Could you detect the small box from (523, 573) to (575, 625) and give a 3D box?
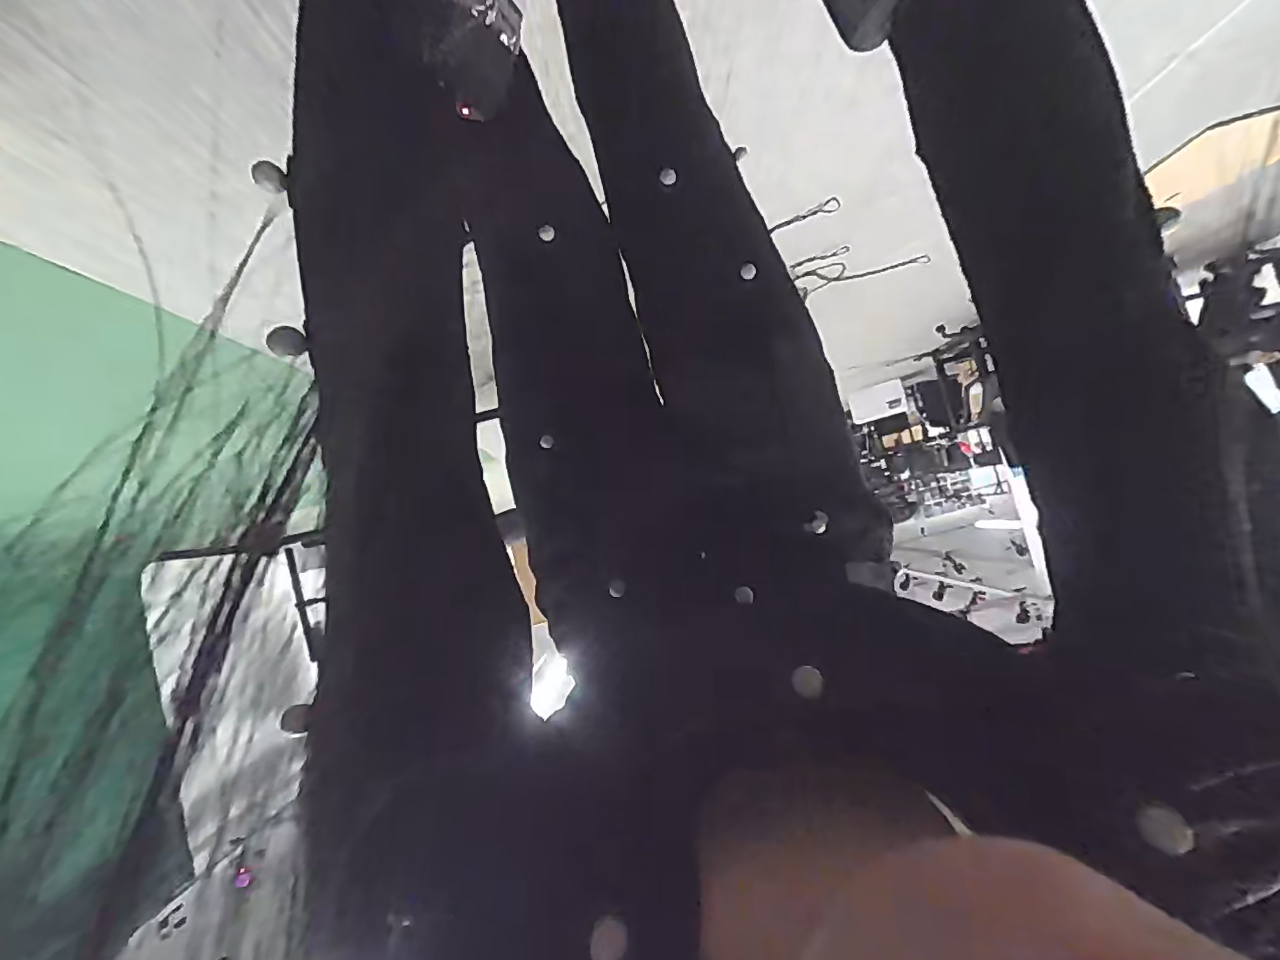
[{"bbox_3d":[-0.372,0.478,2.208,0.179,0.176,0.168,-13,175,-11],"label":"small box"}]
